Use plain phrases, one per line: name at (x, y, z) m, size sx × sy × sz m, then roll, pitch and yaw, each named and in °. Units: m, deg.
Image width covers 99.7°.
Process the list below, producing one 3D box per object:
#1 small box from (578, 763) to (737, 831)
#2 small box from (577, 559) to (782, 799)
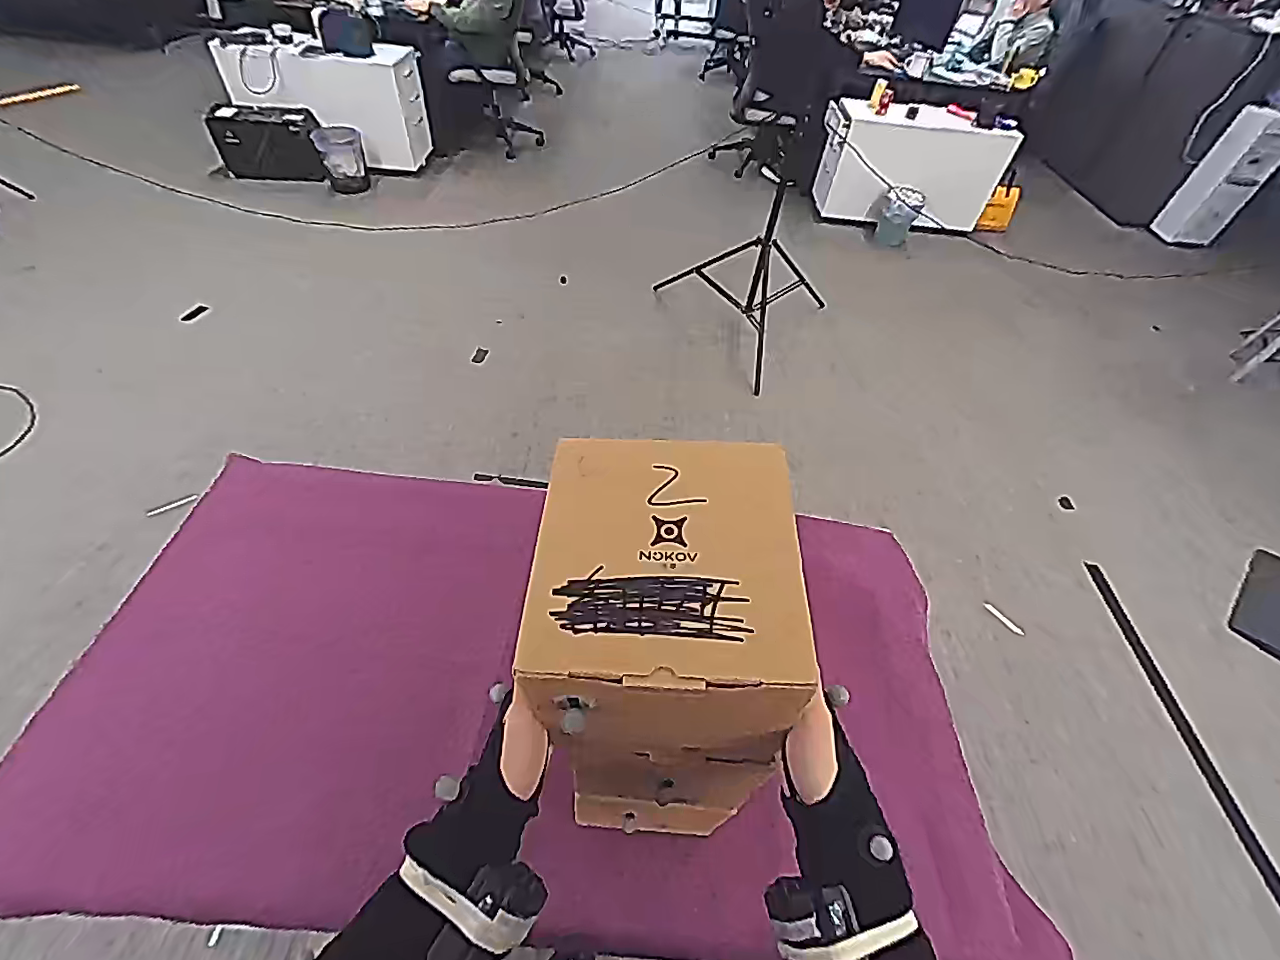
small box at (0.019, 0.312, 0.659) m, size 0.168 × 0.176 × 0.179 m, roll 5°, pitch 49°, yaw -1°
small box at (0.033, 0.202, 0.538) m, size 0.168 × 0.176 × 0.179 m, roll 6°, pitch 50°, yaw -1°
